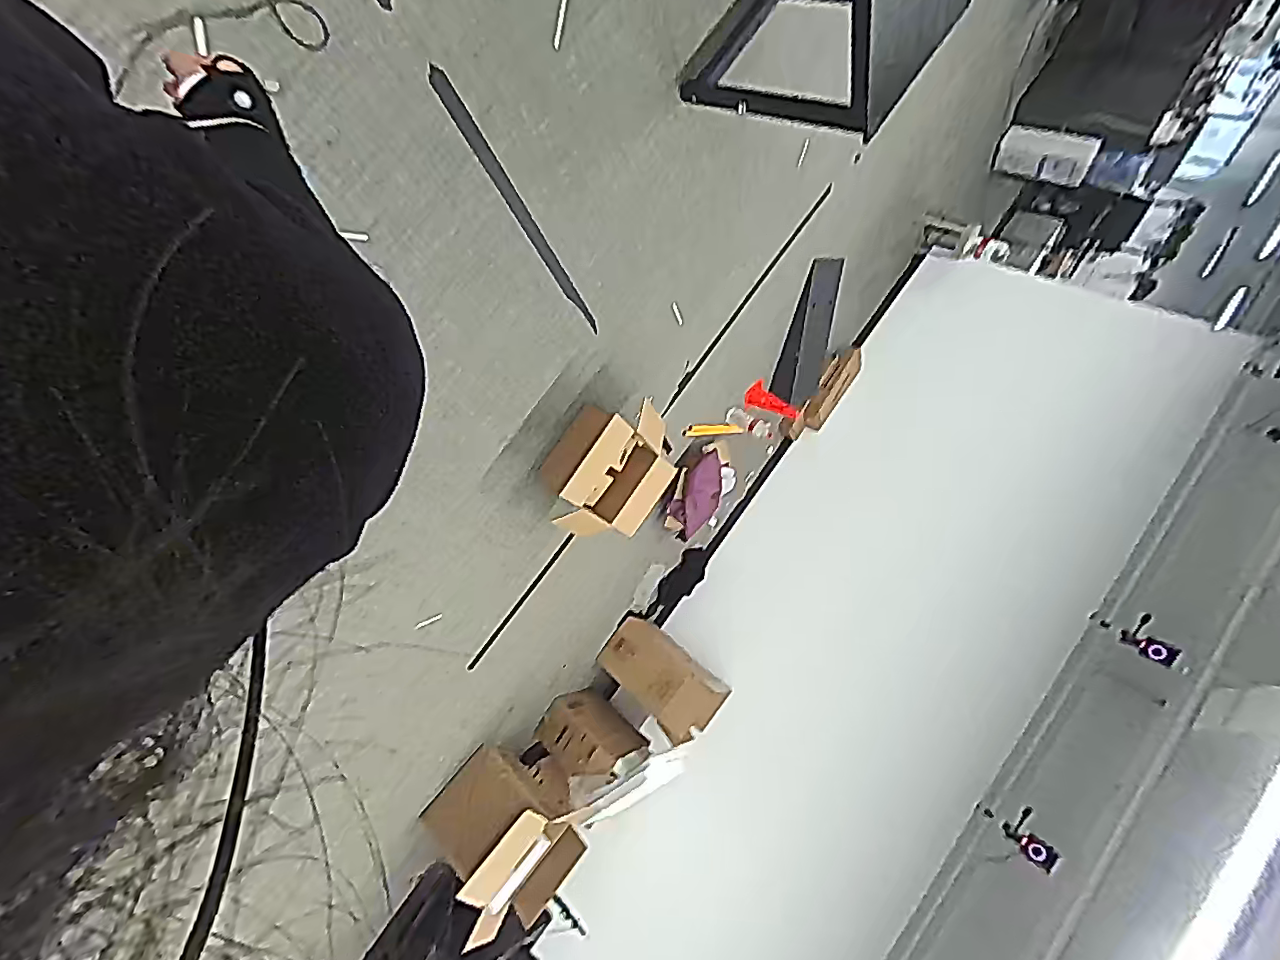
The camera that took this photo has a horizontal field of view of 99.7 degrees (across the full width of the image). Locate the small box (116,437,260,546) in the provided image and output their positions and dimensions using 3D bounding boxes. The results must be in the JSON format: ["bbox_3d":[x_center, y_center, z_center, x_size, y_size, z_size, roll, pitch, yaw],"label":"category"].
[{"bbox_3d":[-1.053,0.025,1.262,0.168,0.176,0.179,-55,150,-9],"label":"small box"}]
